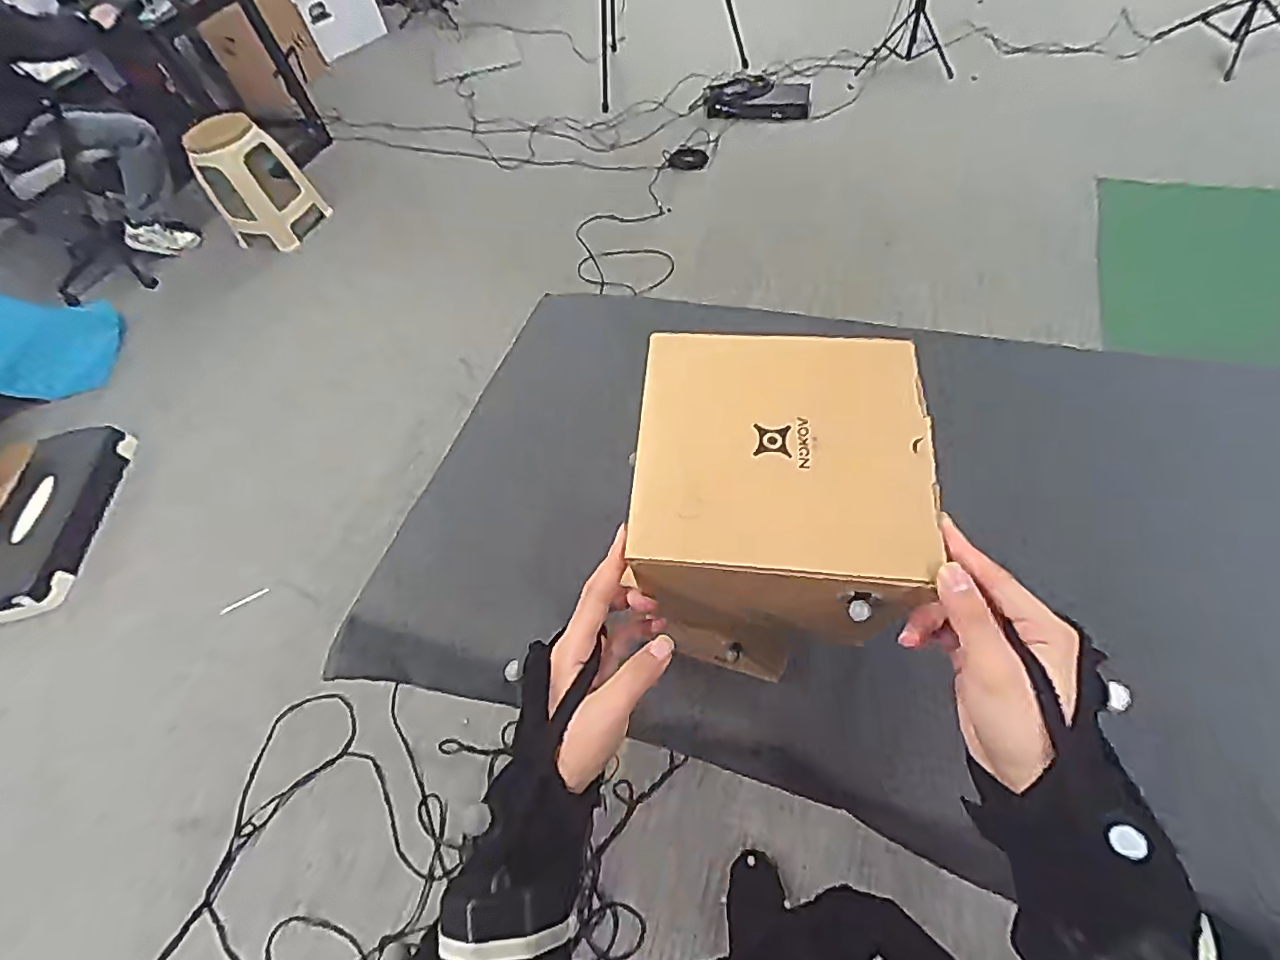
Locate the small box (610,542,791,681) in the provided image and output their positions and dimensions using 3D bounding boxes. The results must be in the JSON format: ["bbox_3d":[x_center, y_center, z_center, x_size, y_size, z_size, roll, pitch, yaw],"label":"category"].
[{"bbox_3d":[0.086,0.086,0.560,0.168,0.176,0.179,14,59,16],"label":"small box"}]

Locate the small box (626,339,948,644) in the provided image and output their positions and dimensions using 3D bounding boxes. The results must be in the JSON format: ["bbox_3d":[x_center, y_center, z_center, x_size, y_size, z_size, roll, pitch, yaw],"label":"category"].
[{"bbox_3d":[0.092,0.017,0.401,0.179,0.176,0.168,4,62,6],"label":"small box"}]
